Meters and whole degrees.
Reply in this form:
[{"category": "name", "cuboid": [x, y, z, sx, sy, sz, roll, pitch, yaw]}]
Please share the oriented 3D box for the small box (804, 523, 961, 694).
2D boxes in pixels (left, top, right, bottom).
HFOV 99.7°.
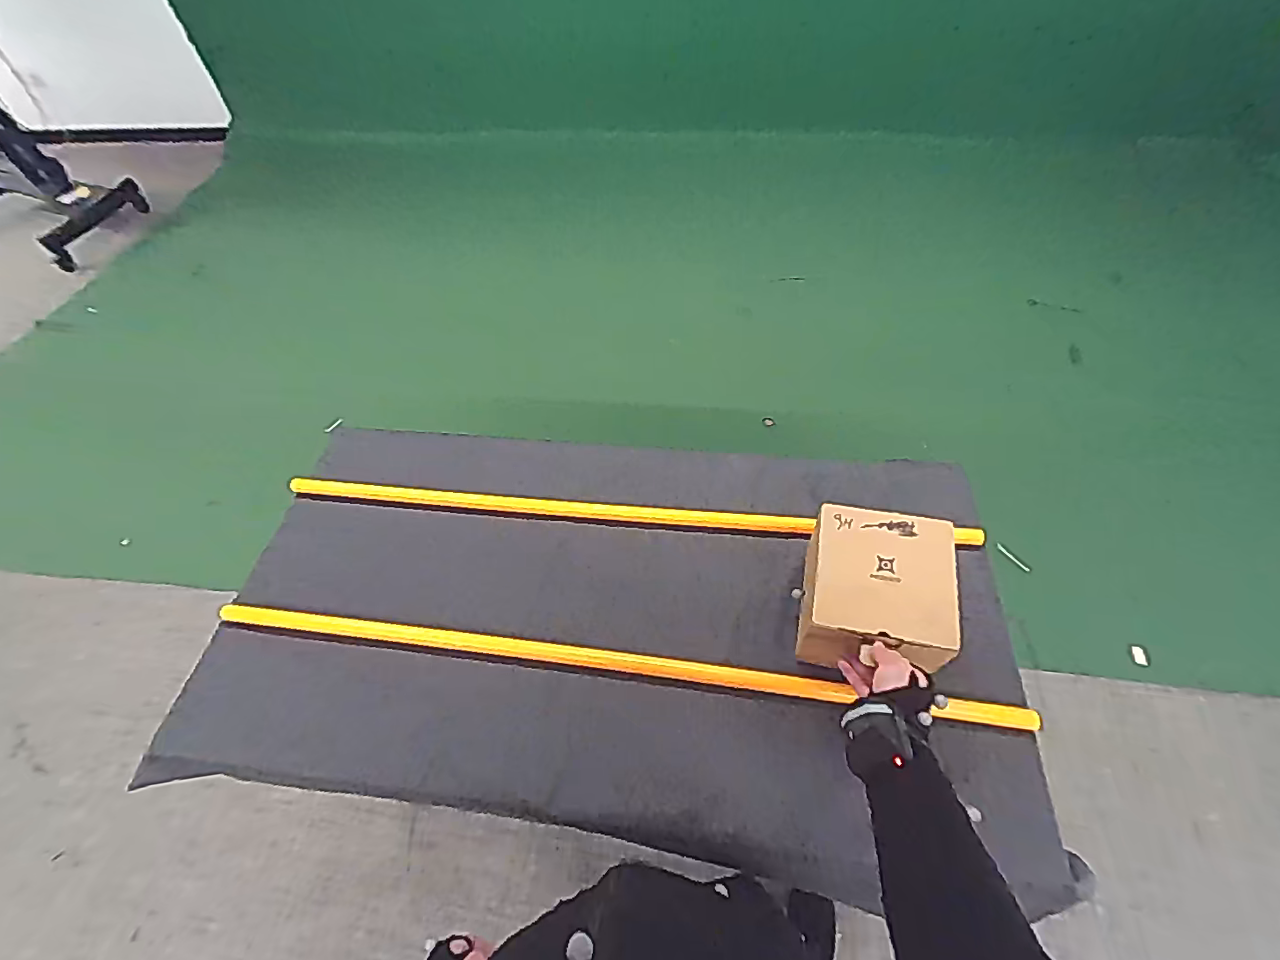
[{"category": "small box", "cuboid": [0.321, 0.181, 0.748, 0.168, 0.176, 0.179, 5, 56, 14]}]
